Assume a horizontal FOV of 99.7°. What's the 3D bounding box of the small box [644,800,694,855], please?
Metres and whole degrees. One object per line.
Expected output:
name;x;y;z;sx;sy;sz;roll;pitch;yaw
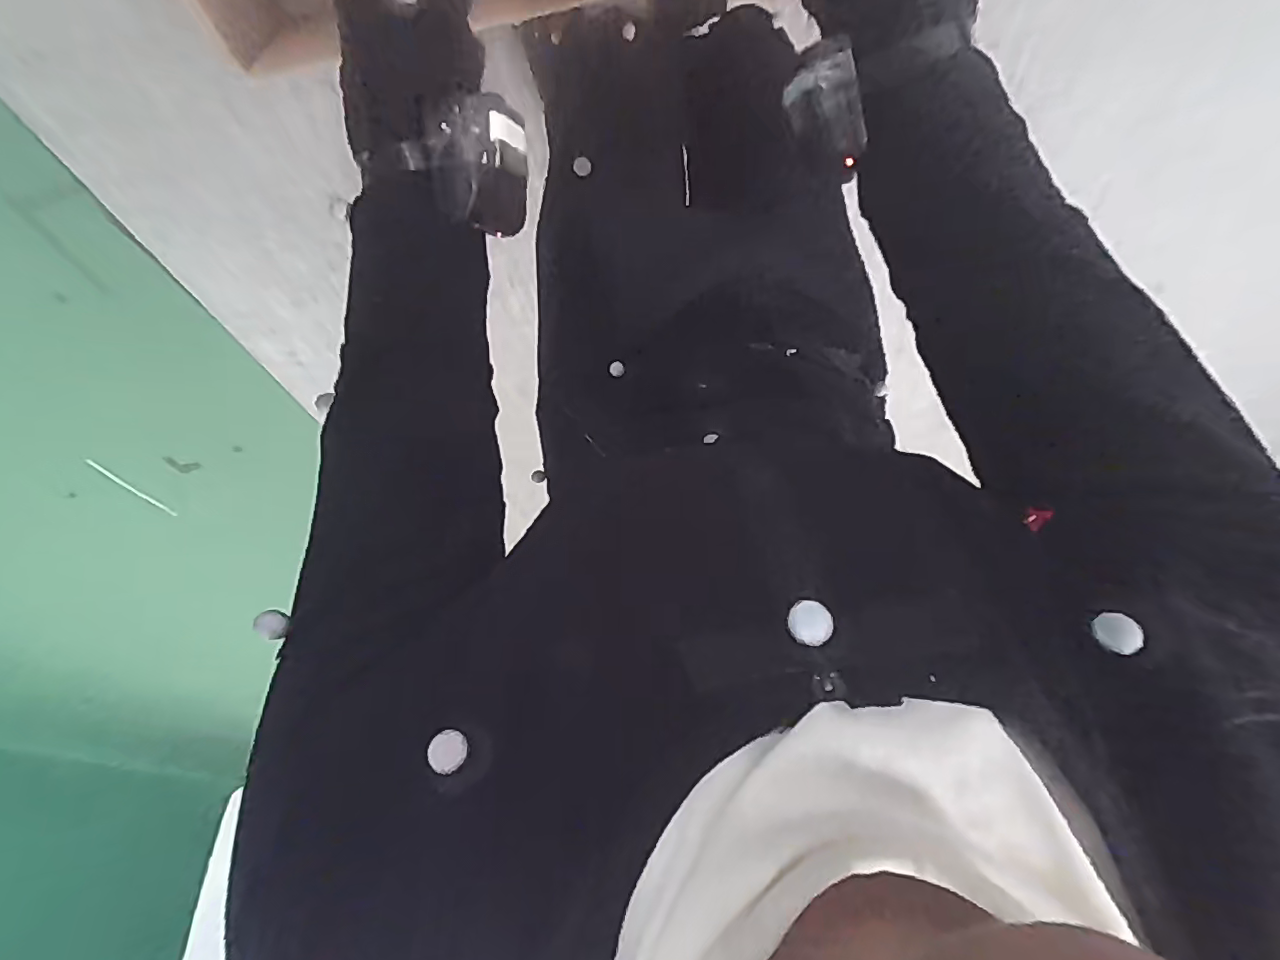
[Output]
small box;0.115;1.372;2.136;0.168;0.176;0.179;-12;144;4
